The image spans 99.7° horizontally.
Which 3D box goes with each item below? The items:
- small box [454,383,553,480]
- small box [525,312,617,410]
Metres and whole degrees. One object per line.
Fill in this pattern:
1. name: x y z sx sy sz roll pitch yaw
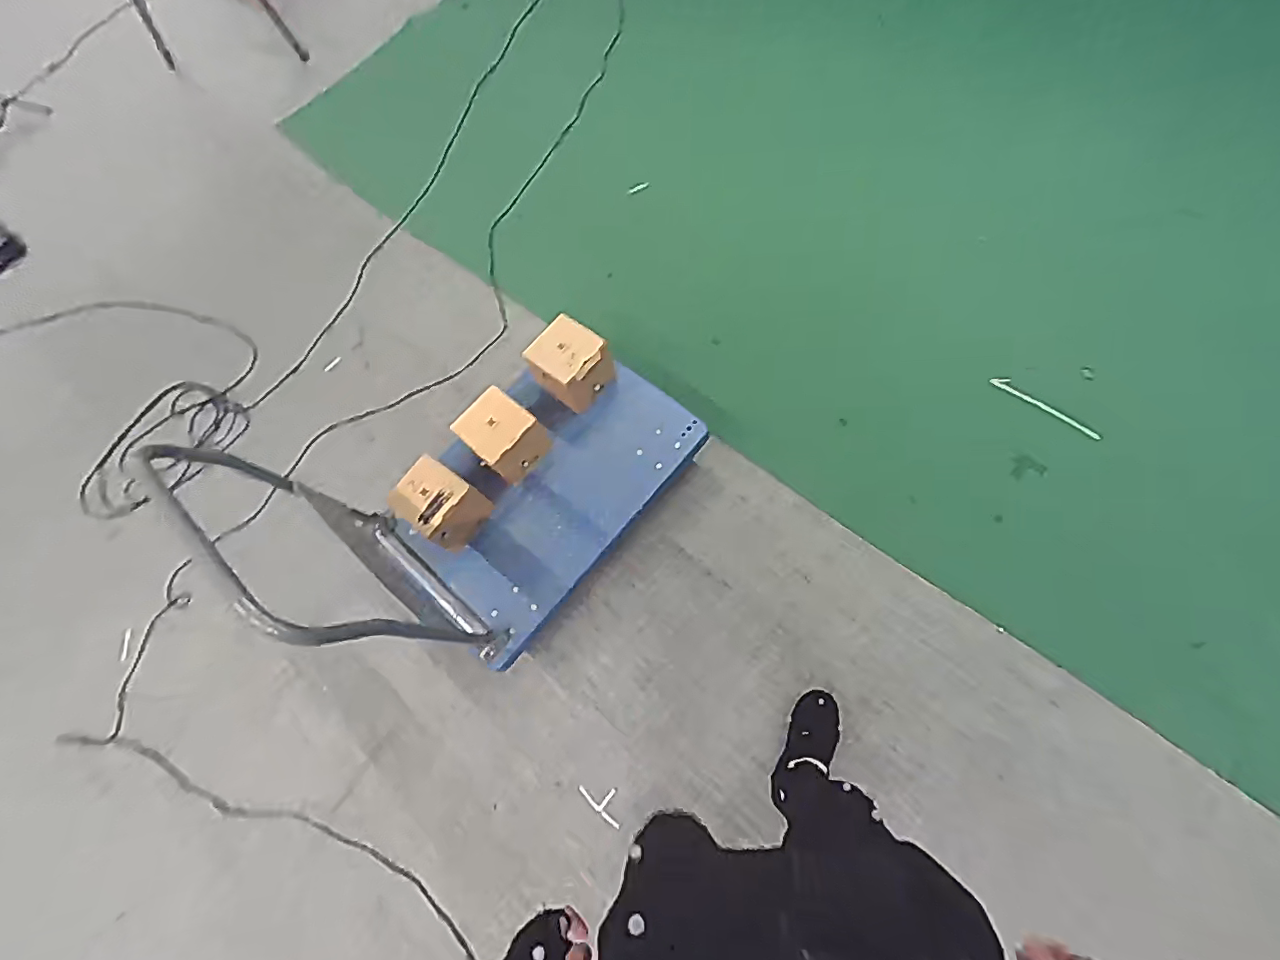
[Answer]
1. small box: -0.368 -0.125 1.486 0.179 0.176 0.168 39 78 18
2. small box: -0.190 -0.331 1.535 0.168 0.176 0.179 -44 71 -6
